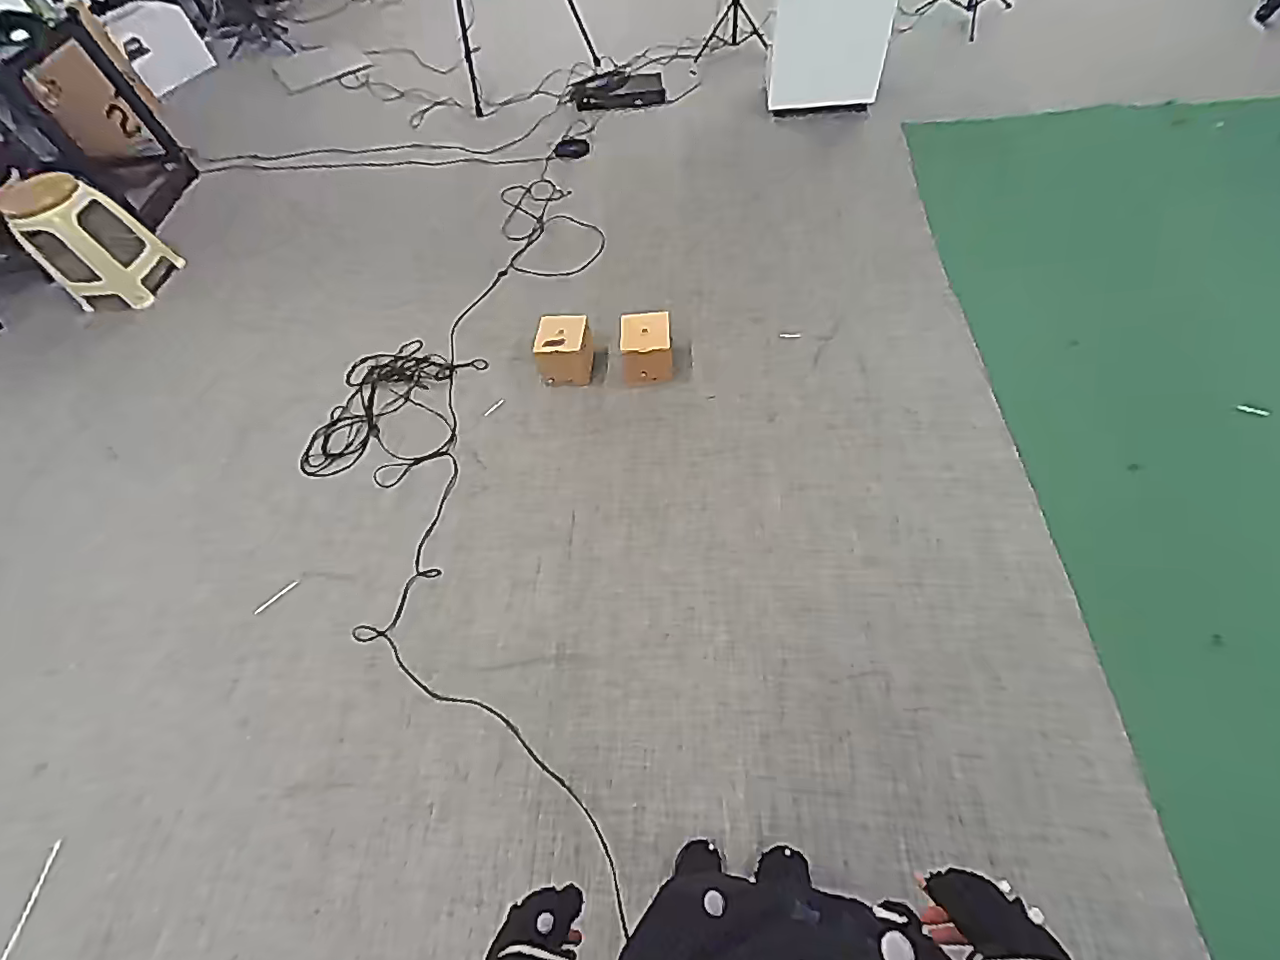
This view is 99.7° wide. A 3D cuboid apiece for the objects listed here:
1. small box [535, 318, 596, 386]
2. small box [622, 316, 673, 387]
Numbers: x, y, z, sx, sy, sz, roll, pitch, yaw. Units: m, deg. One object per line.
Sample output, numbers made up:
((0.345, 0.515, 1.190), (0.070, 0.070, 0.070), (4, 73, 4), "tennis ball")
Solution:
((-0.259, -0.452, 1.930), (0.168, 0.176, 0.179), (1, 58, 8), "small box")
((0.030, -0.449, 1.895), (0.168, 0.176, 0.179), (-3, 59, 5), "small box")
